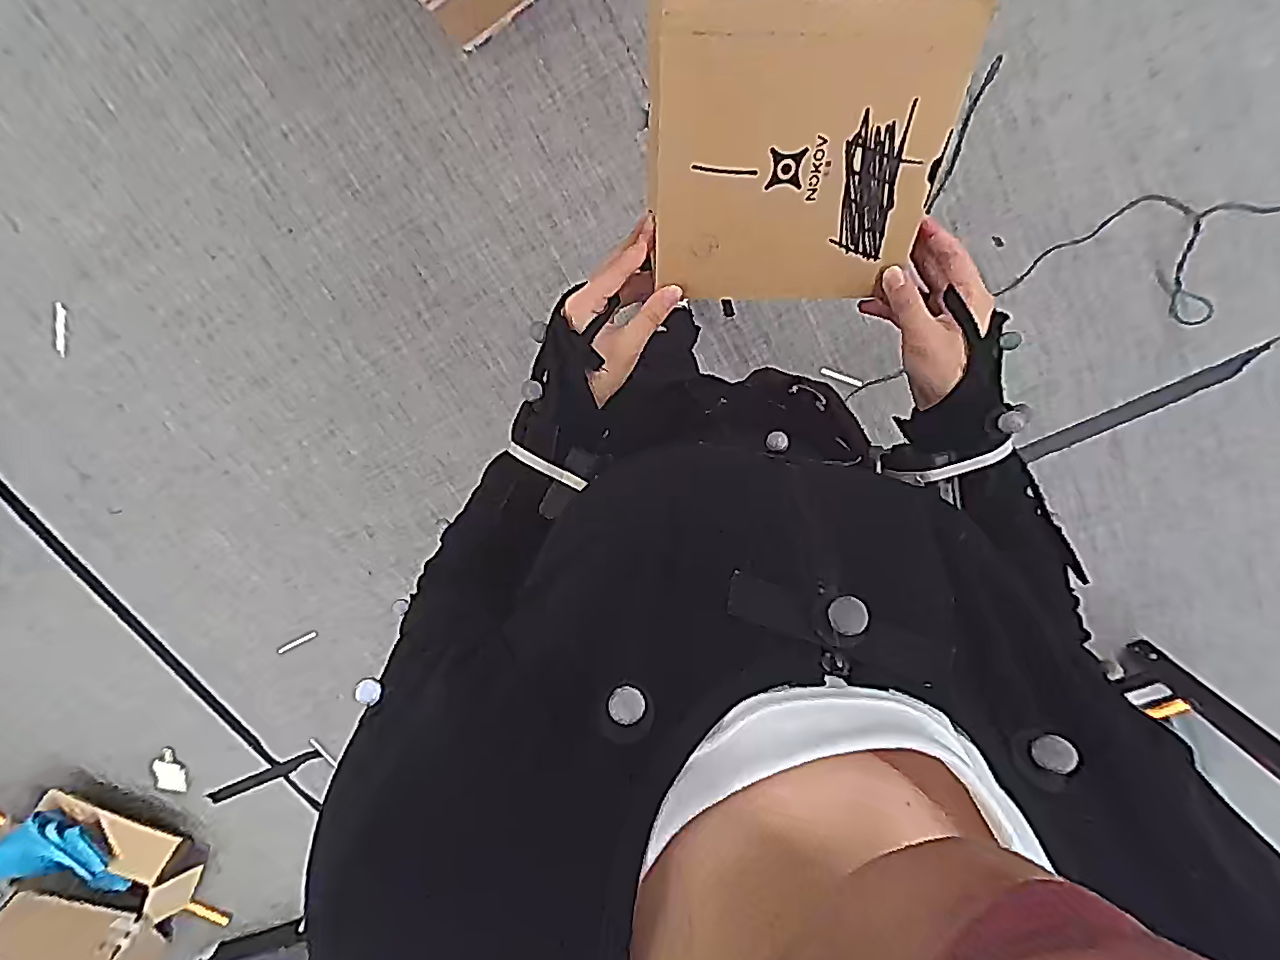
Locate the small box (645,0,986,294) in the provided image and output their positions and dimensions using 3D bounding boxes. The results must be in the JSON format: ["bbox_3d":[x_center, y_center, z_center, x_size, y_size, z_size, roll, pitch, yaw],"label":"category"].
[{"bbox_3d":[0.094,-0.250,0.393,0.179,0.176,0.168,-1,133,0],"label":"small box"}]
